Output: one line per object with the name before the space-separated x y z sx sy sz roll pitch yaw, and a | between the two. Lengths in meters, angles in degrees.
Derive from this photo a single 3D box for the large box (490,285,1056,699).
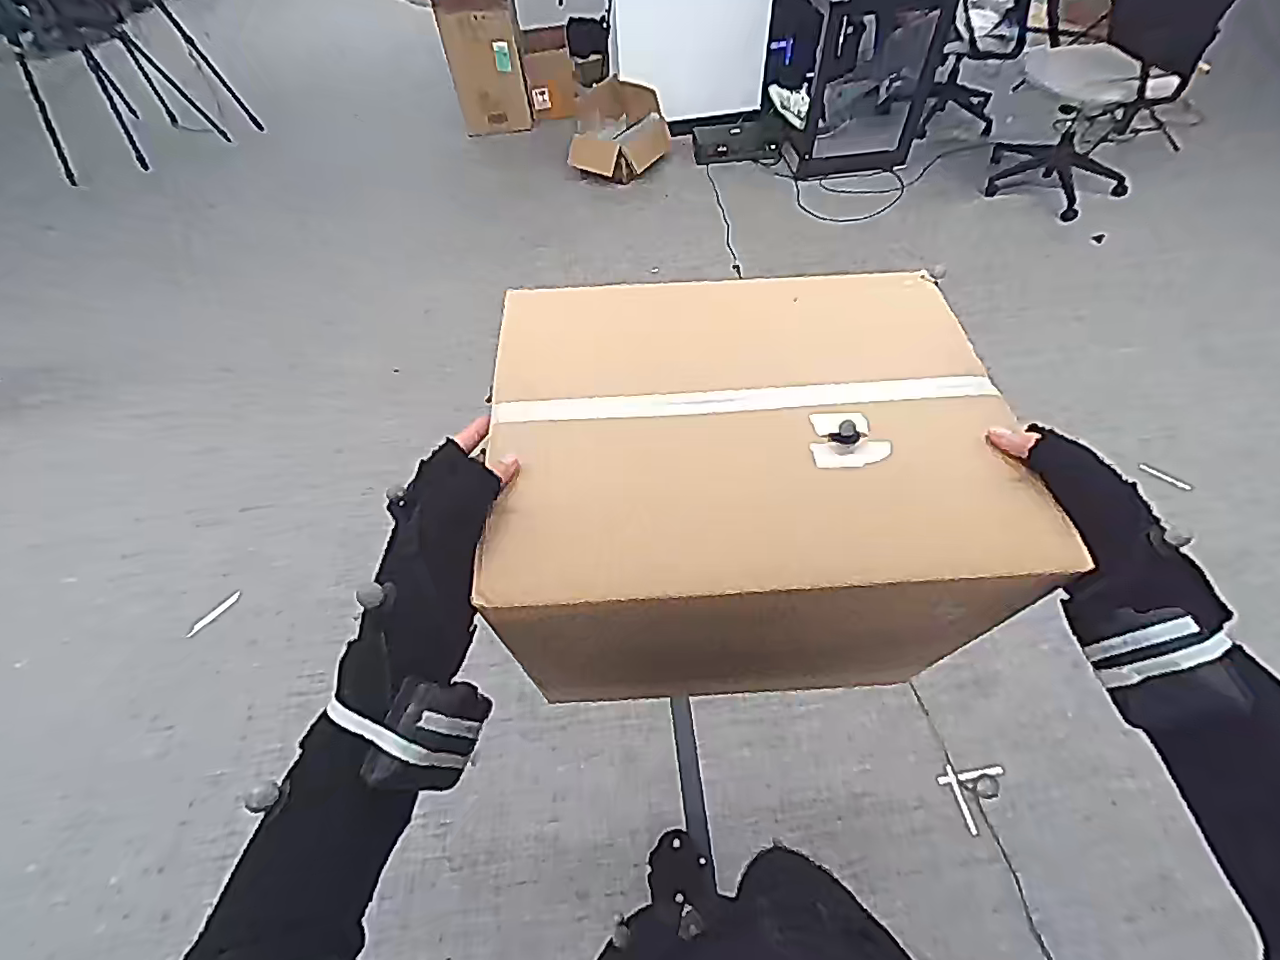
large box | 0.084 0.025 0.574 0.408 0.320 0.320 -3 57 -2
